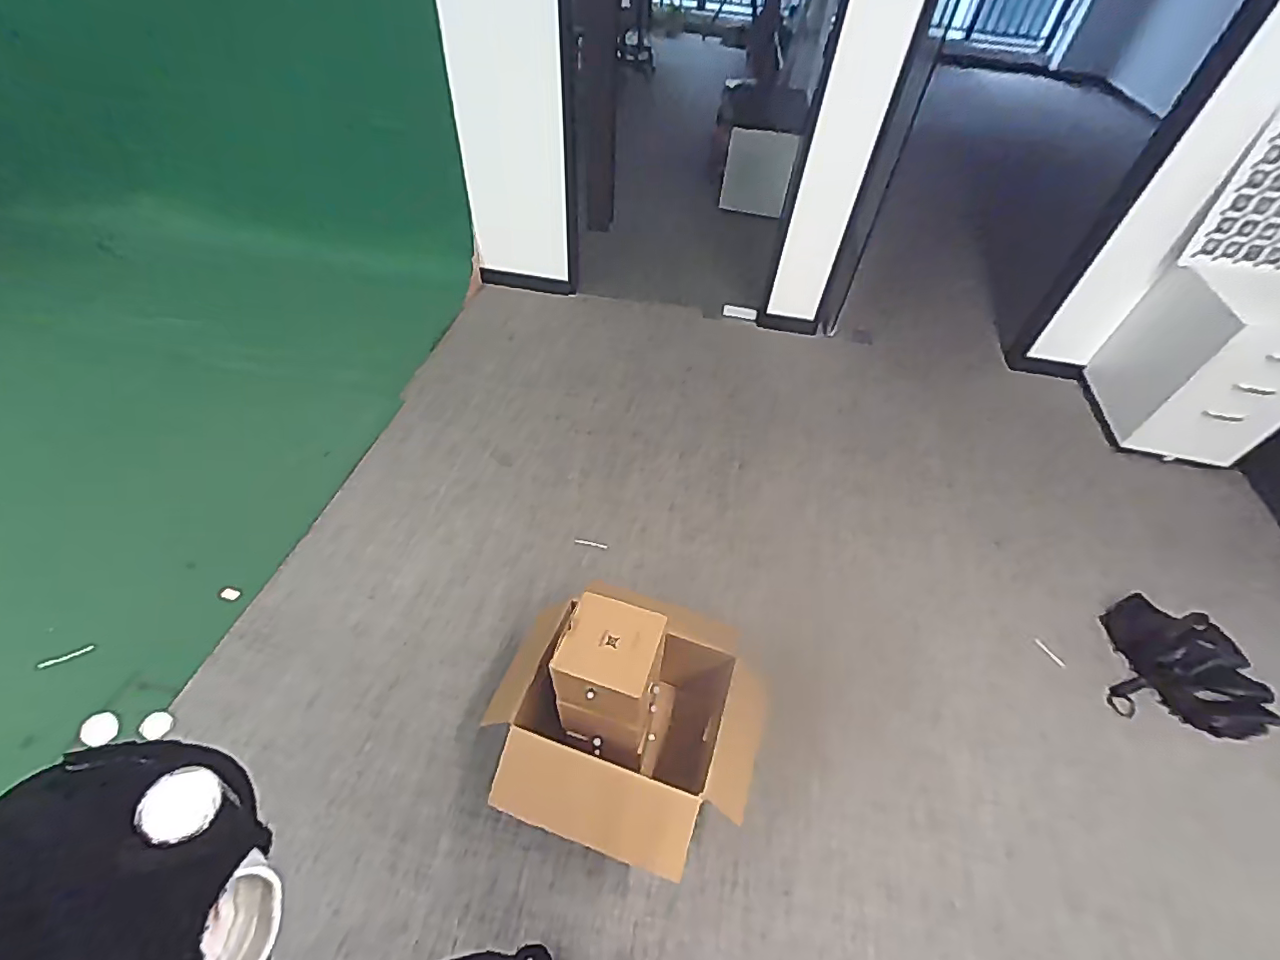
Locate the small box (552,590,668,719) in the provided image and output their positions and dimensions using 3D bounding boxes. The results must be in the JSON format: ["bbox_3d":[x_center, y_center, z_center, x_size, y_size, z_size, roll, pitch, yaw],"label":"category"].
[{"bbox_3d":[-0.055,0.347,1.065,0.179,0.176,0.168,14,51,10],"label":"small box"}]
